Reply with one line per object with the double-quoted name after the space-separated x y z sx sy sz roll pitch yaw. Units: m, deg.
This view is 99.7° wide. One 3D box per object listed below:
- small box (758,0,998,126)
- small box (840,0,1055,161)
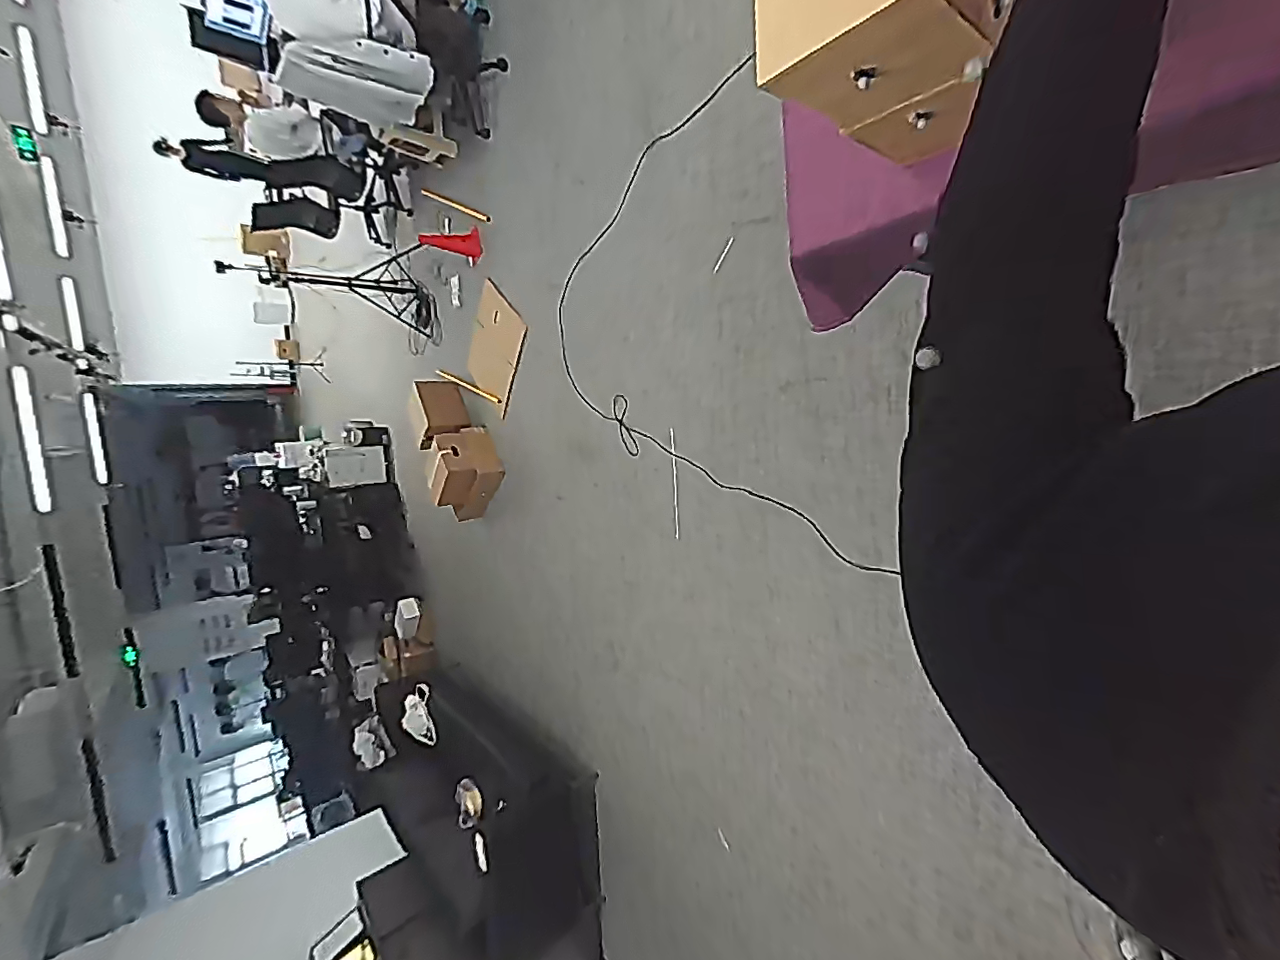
0.239 -0.495 0.540 0.179 0.176 0.168 6 102 51 "small box"
0.363 -0.512 0.646 0.179 0.176 0.168 6 102 50 "small box"
